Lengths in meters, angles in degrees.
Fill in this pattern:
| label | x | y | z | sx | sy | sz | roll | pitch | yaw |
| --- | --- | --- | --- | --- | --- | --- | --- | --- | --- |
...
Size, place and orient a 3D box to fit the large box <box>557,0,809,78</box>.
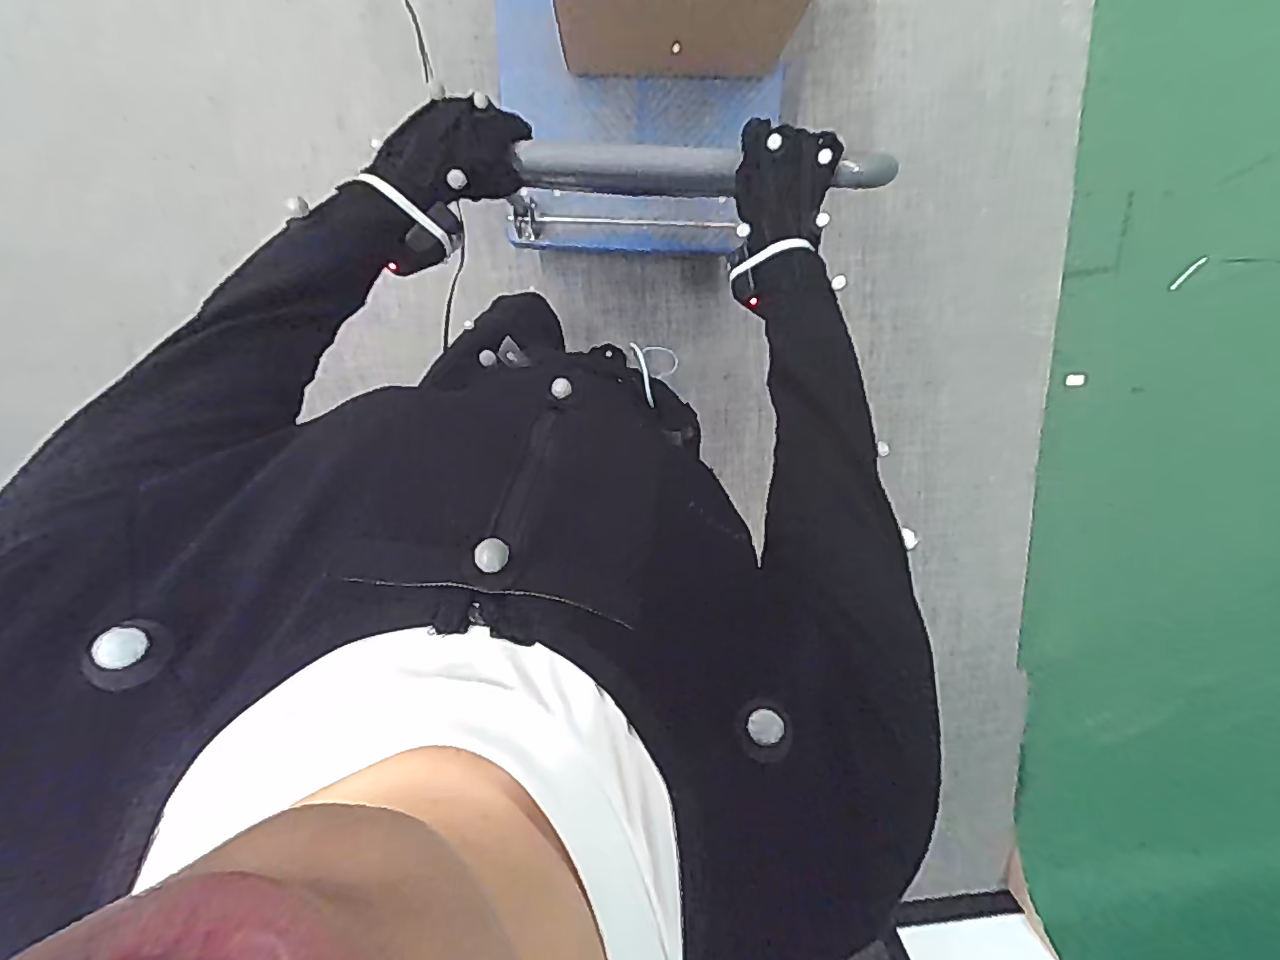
| label | x | y | z | sx | sy | sz | roll | pitch | yaw |
| --- | --- | --- | --- | --- | --- | --- | --- | --- | --- |
| large box | 0.067 | -0.926 | 0.920 | 0.408 | 0.320 | 0.320 | 0 | 105 | -1 |
